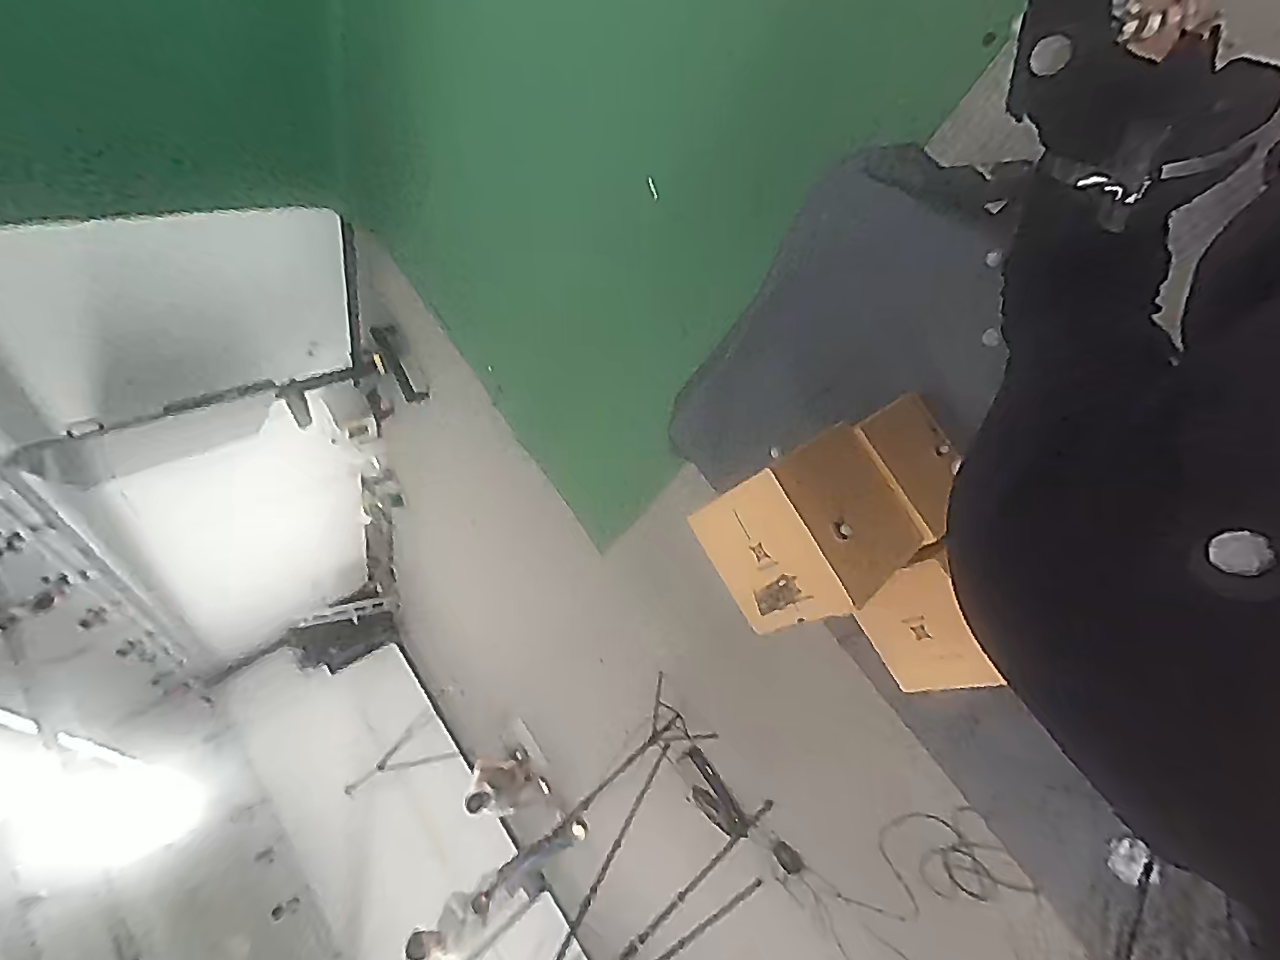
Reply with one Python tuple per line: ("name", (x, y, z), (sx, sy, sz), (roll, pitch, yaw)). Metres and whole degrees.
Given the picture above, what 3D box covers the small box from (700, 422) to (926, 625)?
("small box", (0.217, 0.054, 0.680), (0.179, 0.176, 0.168), (59, 144, 7))
